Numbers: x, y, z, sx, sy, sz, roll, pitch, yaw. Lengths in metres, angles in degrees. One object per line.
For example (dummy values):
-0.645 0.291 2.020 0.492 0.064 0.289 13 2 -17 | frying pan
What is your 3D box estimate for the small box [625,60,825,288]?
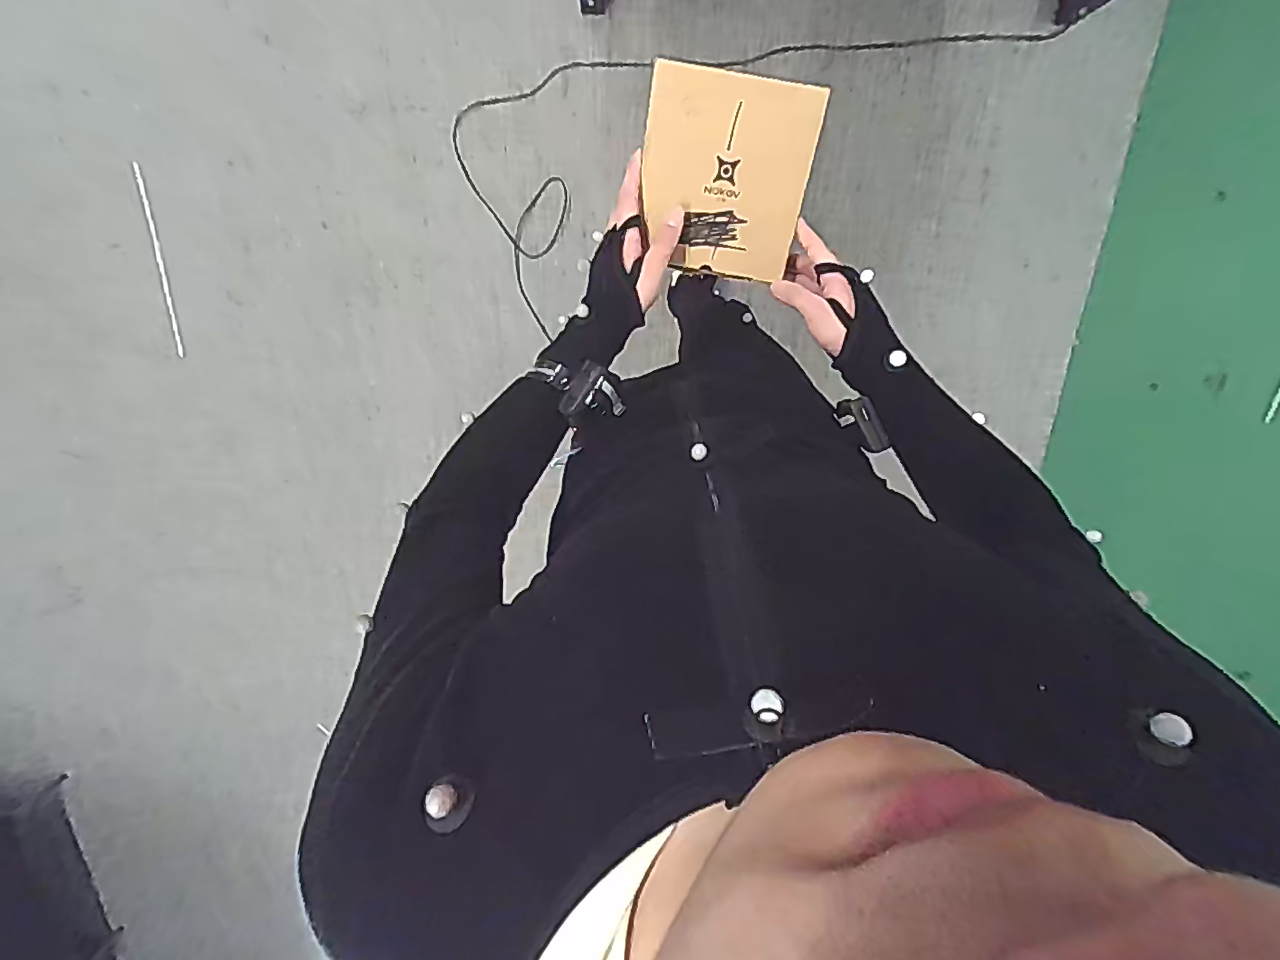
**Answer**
0.081 -0.327 0.599 0.168 0.176 0.179 8 117 -2 | small box
